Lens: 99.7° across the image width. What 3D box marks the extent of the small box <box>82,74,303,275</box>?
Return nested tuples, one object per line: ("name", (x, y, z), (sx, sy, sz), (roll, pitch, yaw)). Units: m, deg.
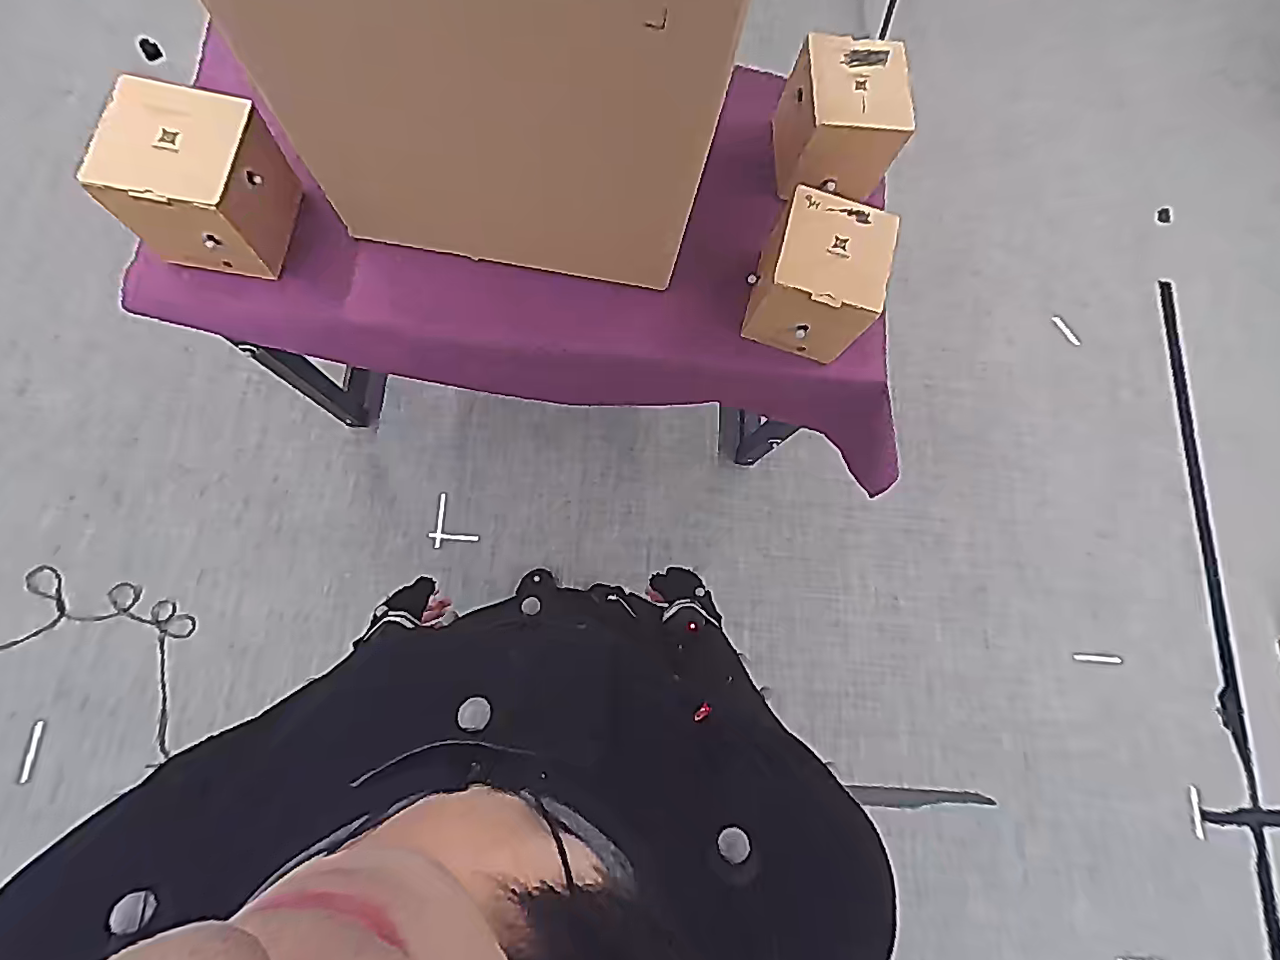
("small box", (-0.623, -0.427, 0.783), (0.168, 0.176, 0.179), (8, 75, -8))
